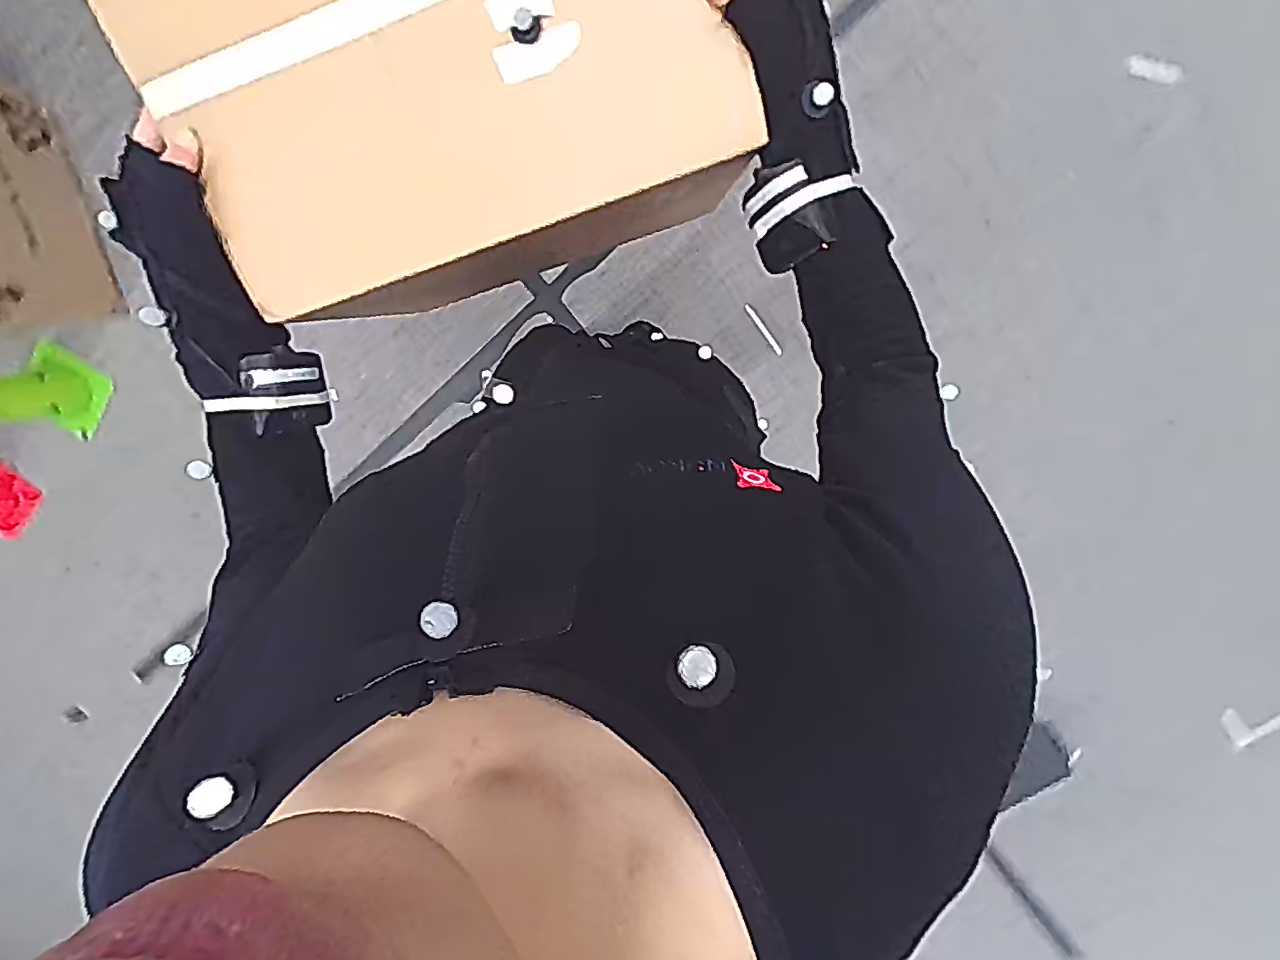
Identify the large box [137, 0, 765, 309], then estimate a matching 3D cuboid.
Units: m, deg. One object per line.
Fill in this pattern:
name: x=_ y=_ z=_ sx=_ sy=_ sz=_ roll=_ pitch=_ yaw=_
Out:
large box: x=-0.141 y=-0.376 z=0.511 sx=0.408 sy=0.320 sz=0.320 roll=-17 pitch=107 yaw=6
